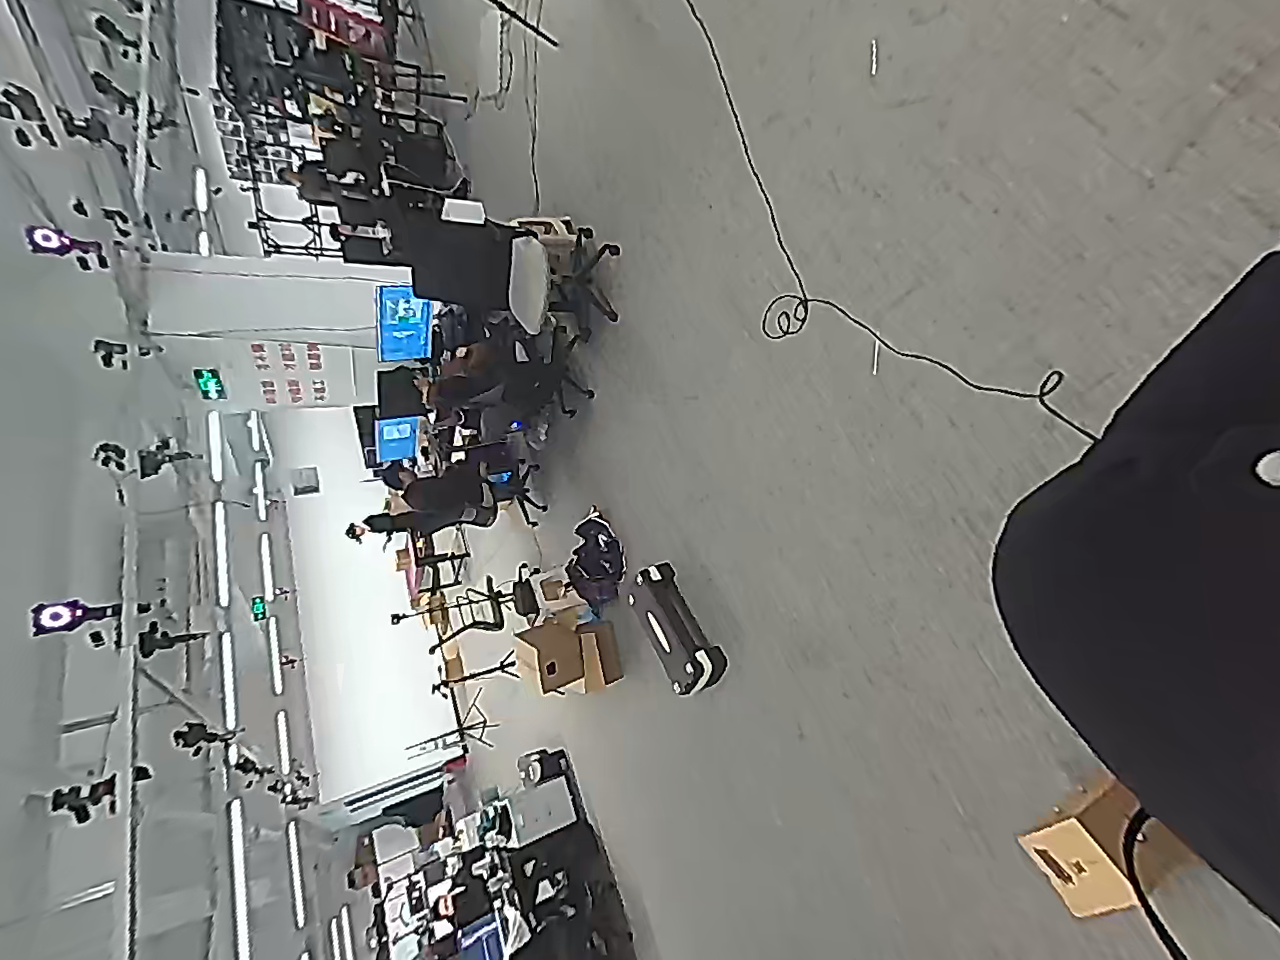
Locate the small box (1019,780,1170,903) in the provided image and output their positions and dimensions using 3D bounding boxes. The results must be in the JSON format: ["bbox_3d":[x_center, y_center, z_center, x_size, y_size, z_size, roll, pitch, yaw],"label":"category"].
[{"bbox_3d":[1.034,0.819,1.232,0.168,0.176,0.179,59,144,35],"label":"small box"}]

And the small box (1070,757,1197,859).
[{"bbox_3d":[1.179,0.803,1.308,0.168,0.176,0.179,59,146,36],"label":"small box"}]
